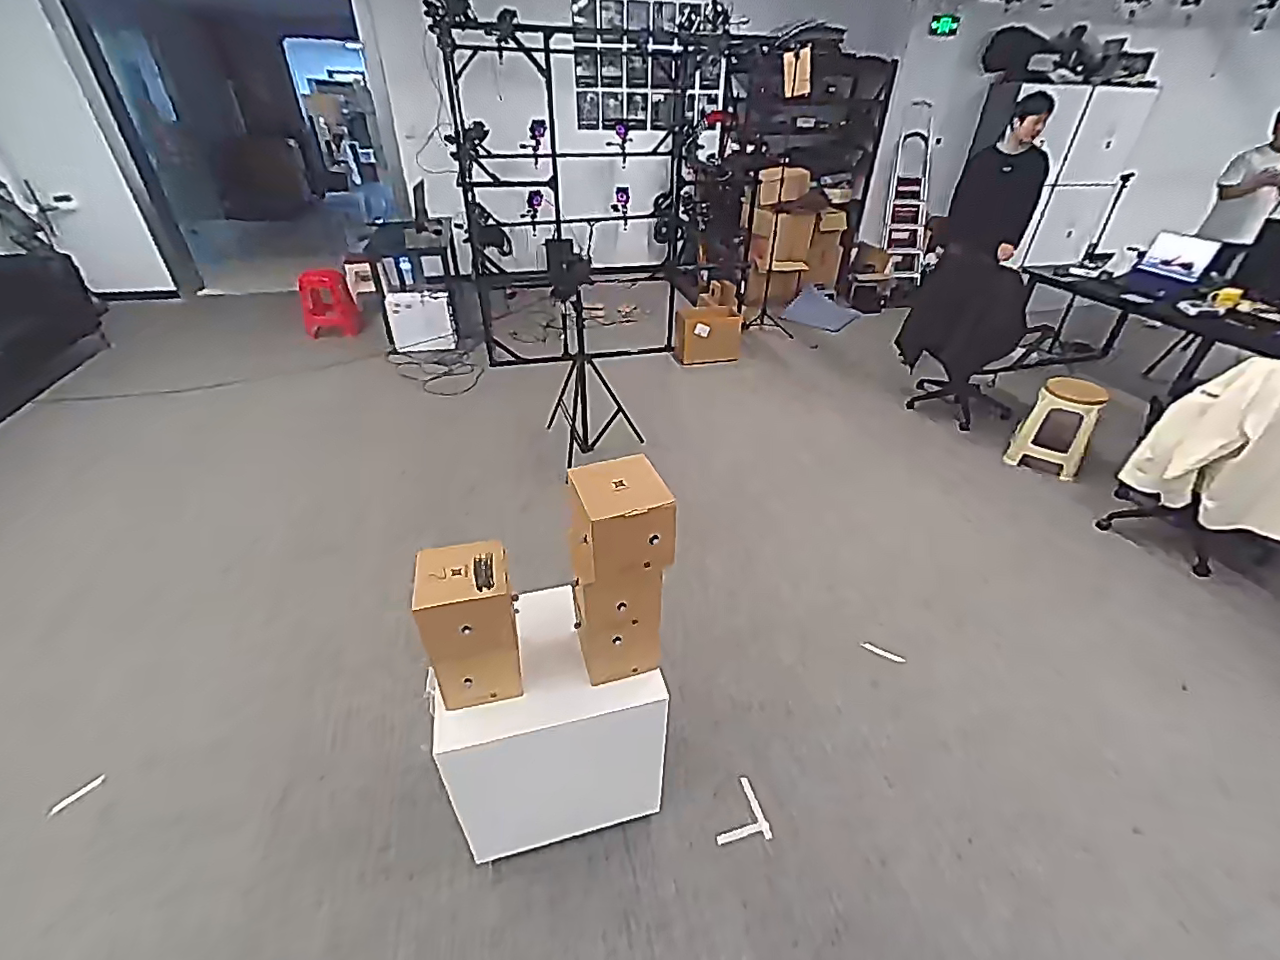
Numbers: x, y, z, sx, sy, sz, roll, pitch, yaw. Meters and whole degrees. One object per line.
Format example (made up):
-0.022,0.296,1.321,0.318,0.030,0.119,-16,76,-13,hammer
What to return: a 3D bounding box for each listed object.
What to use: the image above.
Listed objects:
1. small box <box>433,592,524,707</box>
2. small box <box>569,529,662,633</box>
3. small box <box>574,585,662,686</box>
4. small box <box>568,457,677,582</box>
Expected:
-0.355,0.382,1.206,0.168,0.176,0.179,-7,36,-12,small box
-0.054,0.209,1.167,0.168,0.176,0.179,-9,36,-13,small box
-0.055,0.344,1.262,0.168,0.176,0.179,-11,36,-13,small box
-0.036,0.081,1.066,0.168,0.176,0.179,-12,37,-18,small box
